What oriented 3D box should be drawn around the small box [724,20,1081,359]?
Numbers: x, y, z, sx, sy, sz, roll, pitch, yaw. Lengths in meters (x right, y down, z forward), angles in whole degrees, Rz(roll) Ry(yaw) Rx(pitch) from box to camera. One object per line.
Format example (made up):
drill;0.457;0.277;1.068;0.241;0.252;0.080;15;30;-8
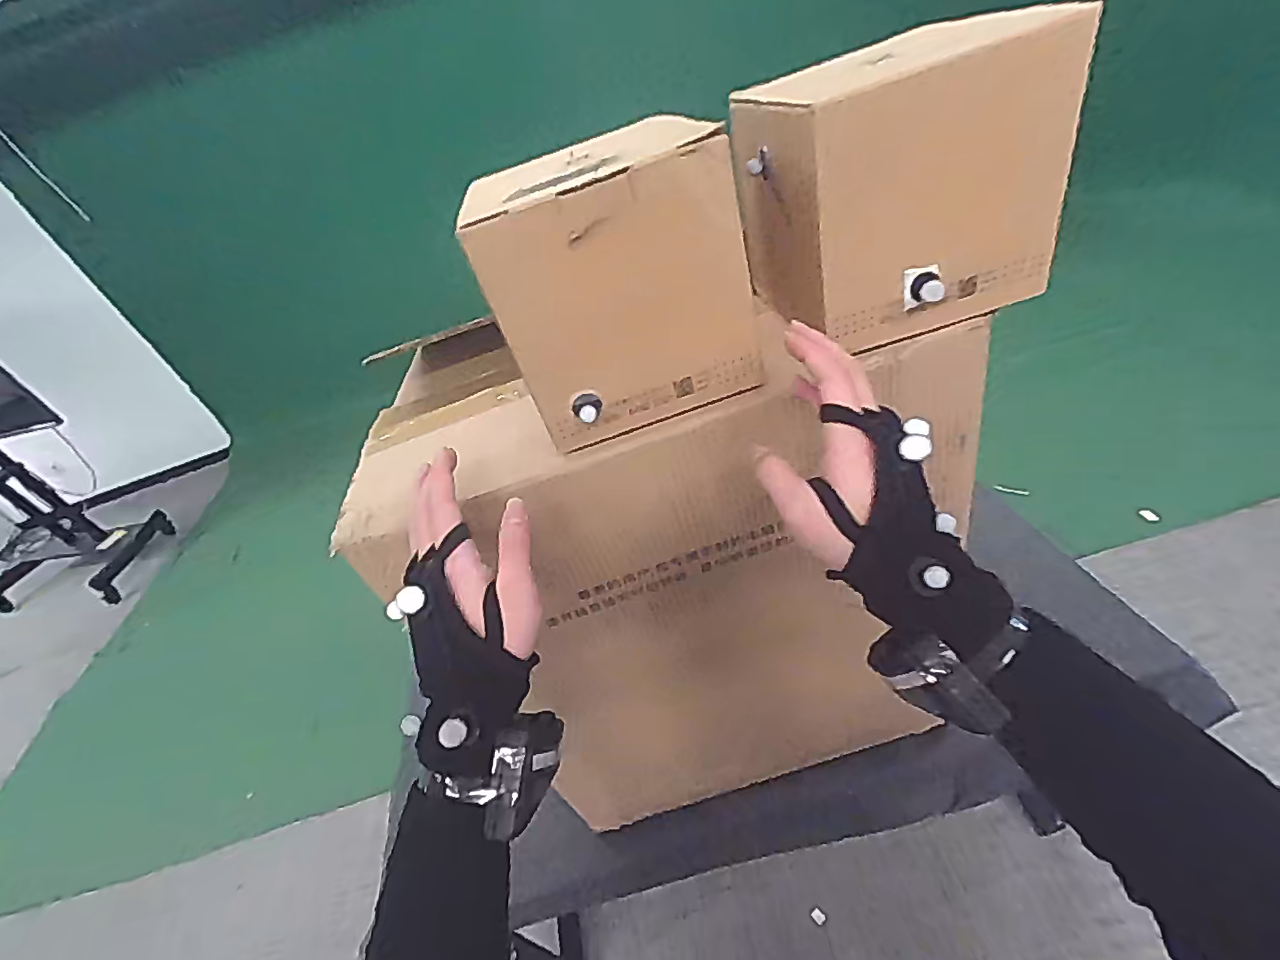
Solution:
small box;0.180;-0.219;0.422;0.168;0.176;0.179;-20;38;1
